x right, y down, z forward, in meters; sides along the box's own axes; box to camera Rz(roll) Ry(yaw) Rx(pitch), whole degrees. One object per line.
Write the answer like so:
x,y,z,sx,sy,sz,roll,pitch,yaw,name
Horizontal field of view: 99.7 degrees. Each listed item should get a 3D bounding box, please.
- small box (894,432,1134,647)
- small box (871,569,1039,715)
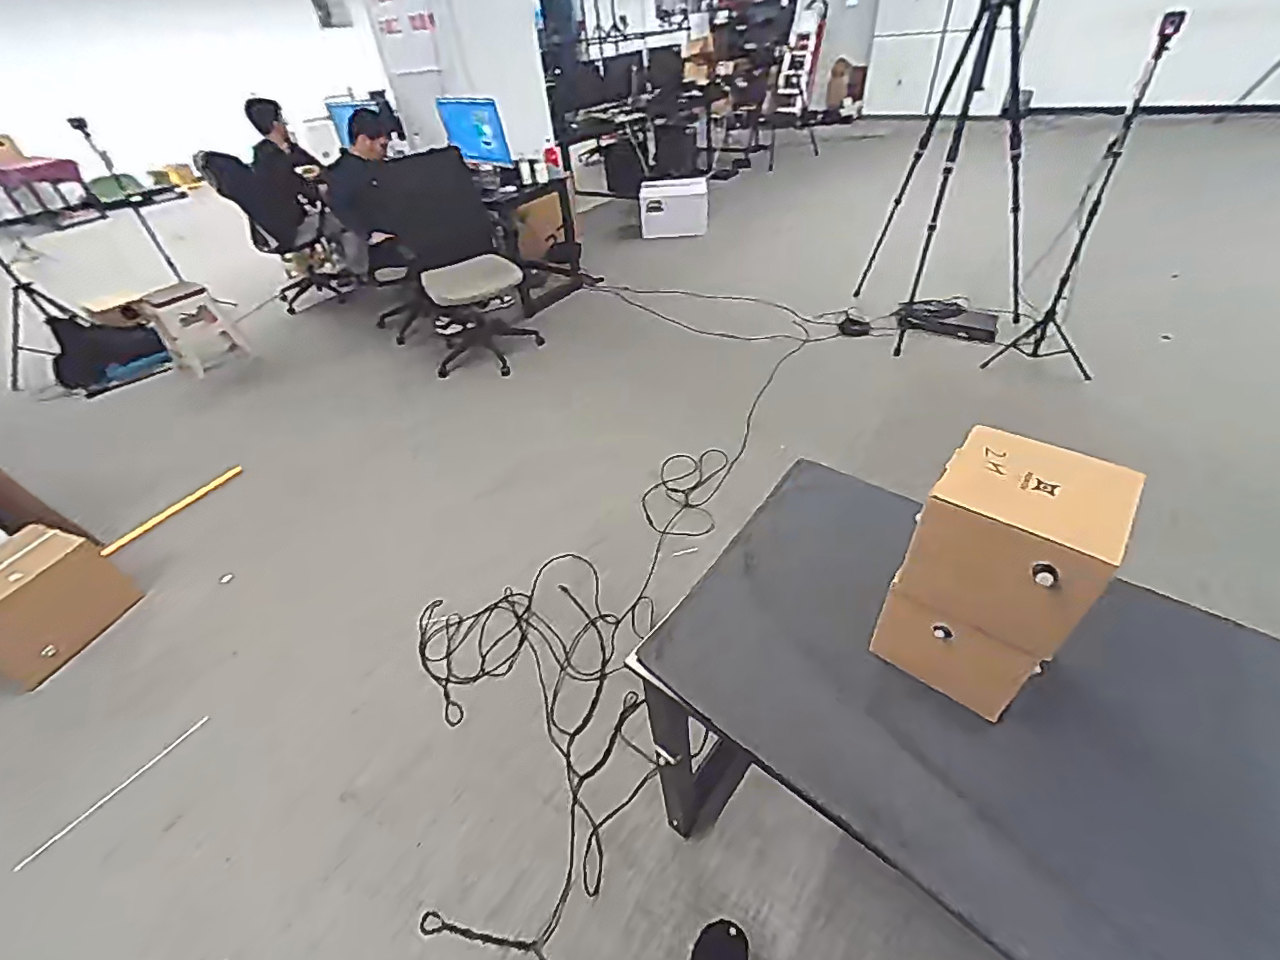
0.442,0.073,0.658,0.179,0.176,0.168,26,49,33,small box
0.455,0.195,0.770,0.179,0.176,0.168,28,50,33,small box
